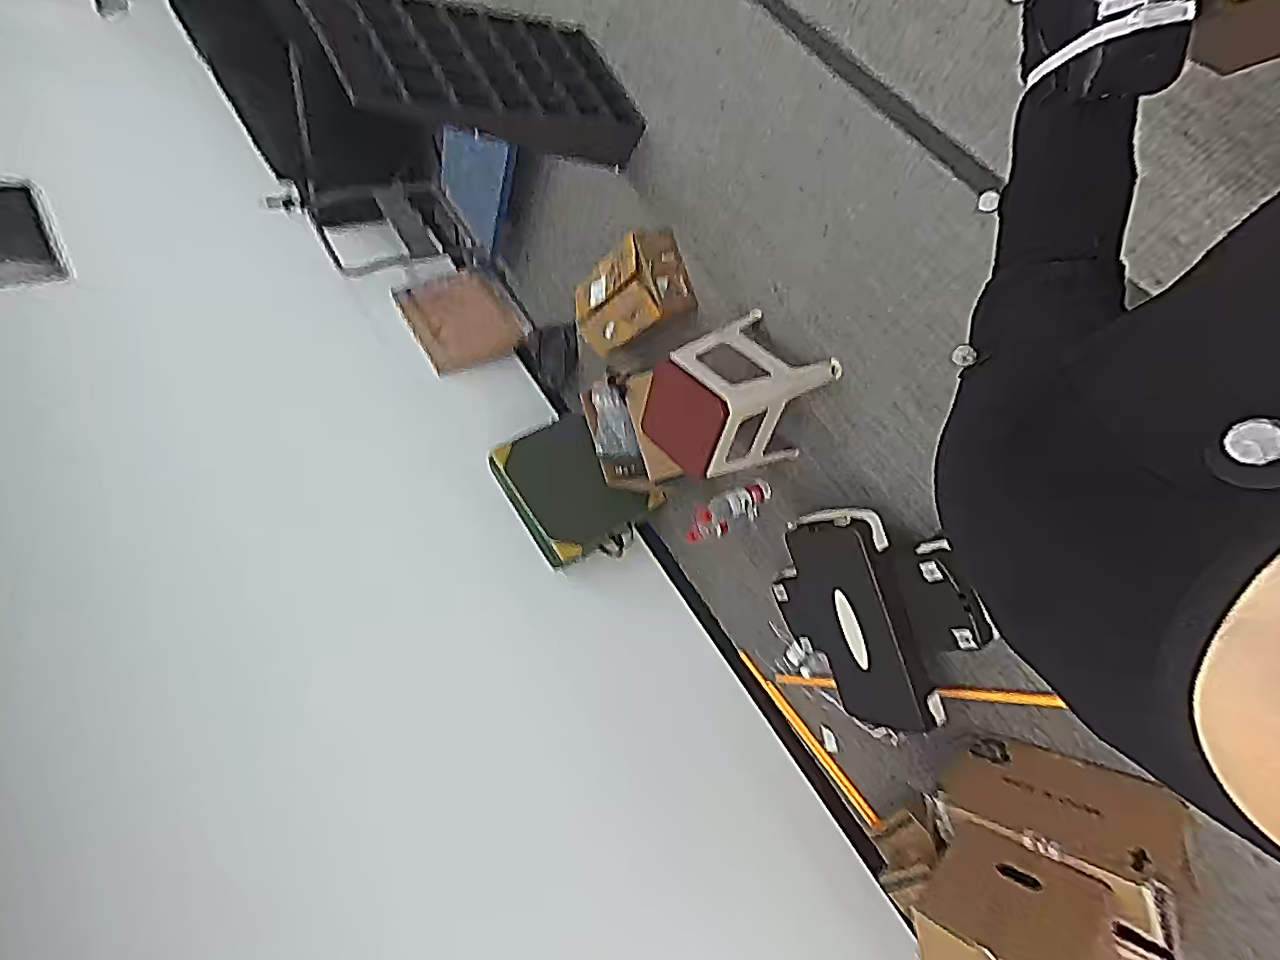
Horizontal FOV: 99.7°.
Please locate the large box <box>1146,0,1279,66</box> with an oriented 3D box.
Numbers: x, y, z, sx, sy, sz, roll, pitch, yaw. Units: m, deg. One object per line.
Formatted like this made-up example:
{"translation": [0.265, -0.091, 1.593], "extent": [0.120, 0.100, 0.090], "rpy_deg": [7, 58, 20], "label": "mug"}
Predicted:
{"translation": [0.544, -0.481, 0.253], "extent": [0.408, 0.320, 0.320], "rpy_deg": [10, 117, 52], "label": "large box"}
